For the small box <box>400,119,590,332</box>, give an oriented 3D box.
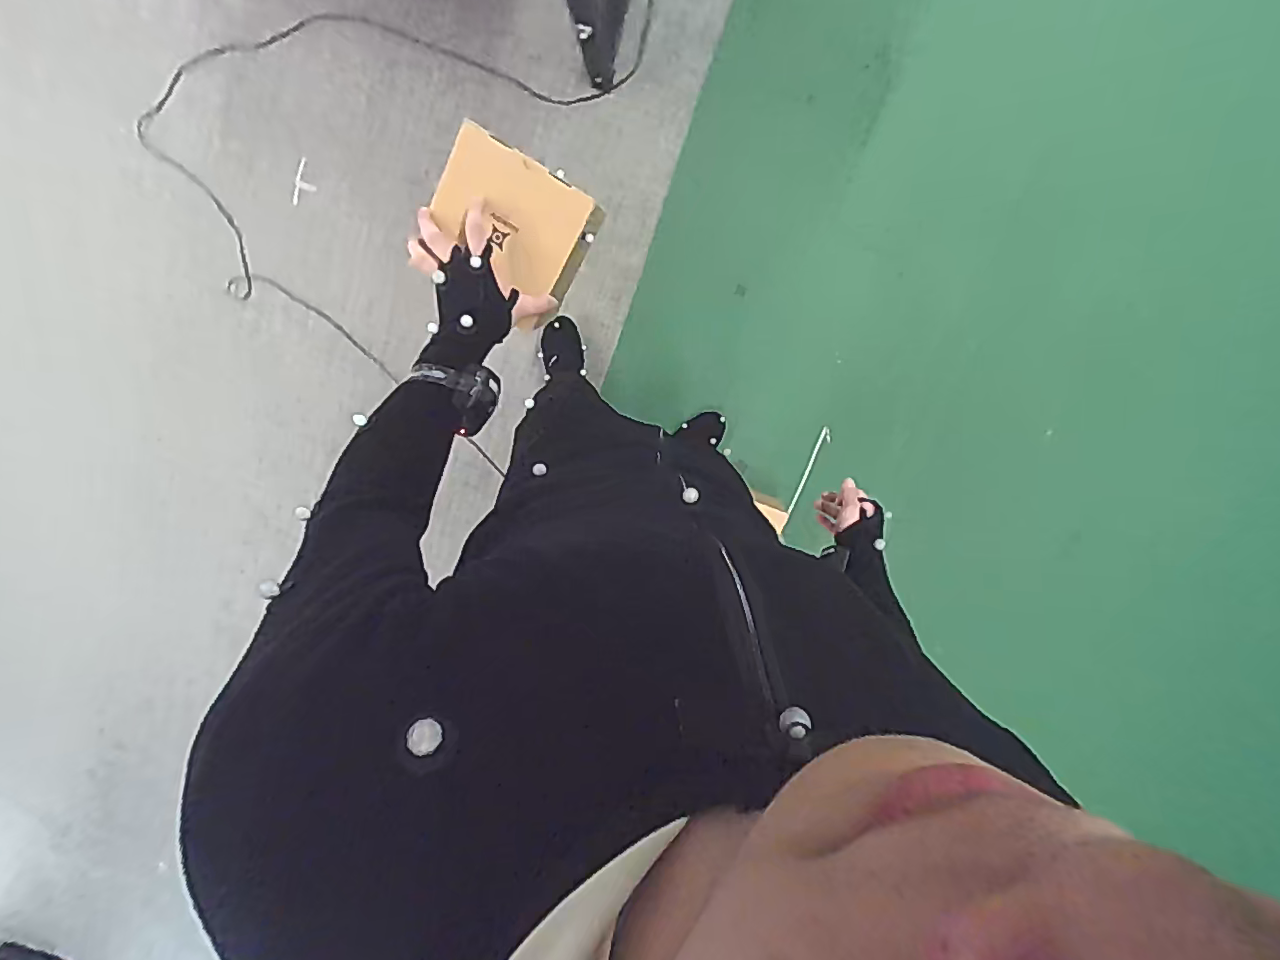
[{"bbox_3d":[-0.175,-0.317,0.704,0.168,0.176,0.179,27,109,-9],"label":"small box"}]
